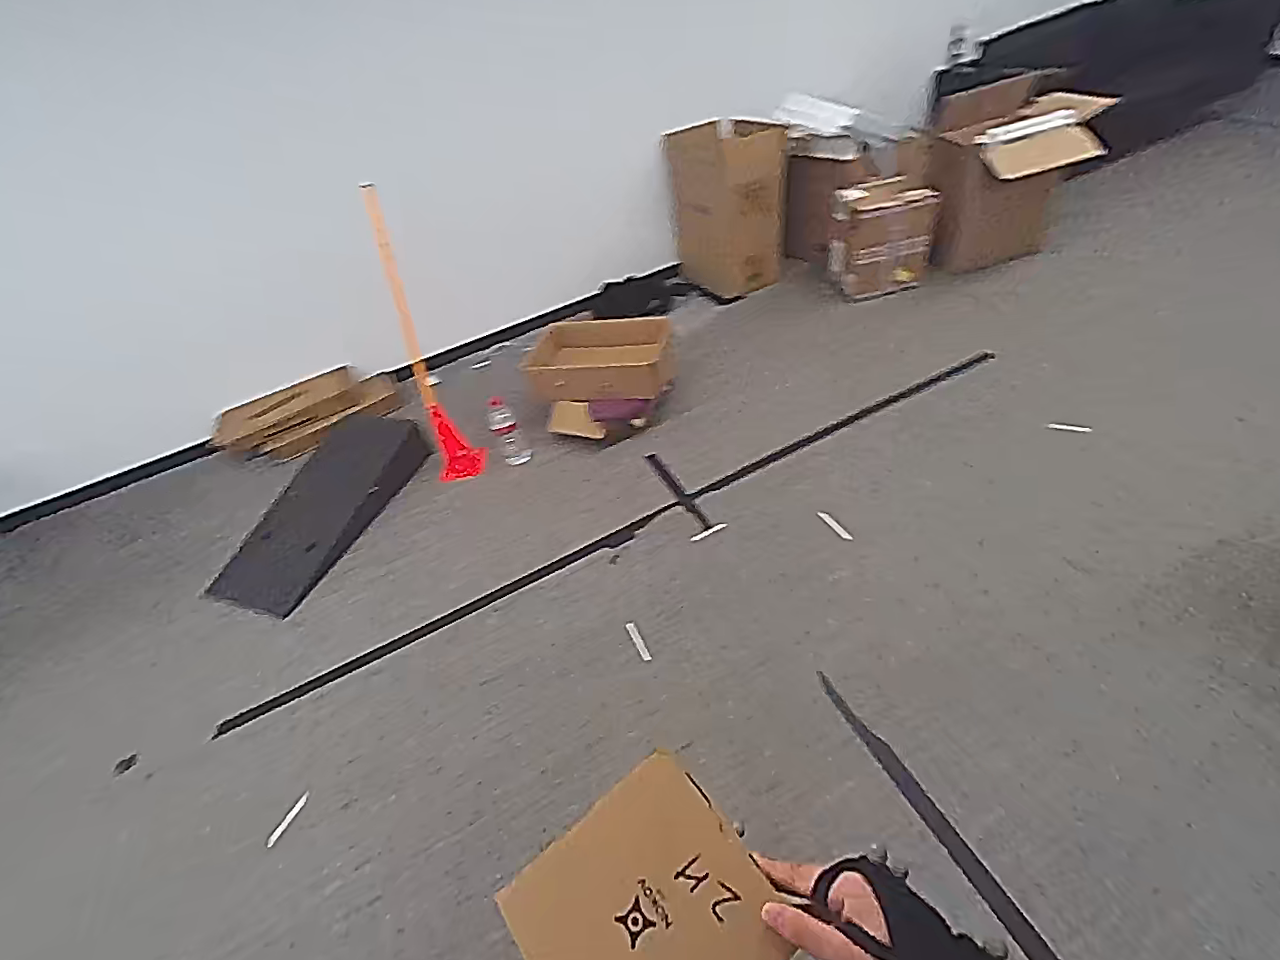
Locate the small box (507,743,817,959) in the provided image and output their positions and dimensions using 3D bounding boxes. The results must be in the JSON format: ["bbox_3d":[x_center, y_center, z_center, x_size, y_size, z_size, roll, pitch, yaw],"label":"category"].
[{"bbox_3d":[0.022,0.365,0.460,0.179,0.176,0.168,-35,57,-16],"label":"small box"}]
